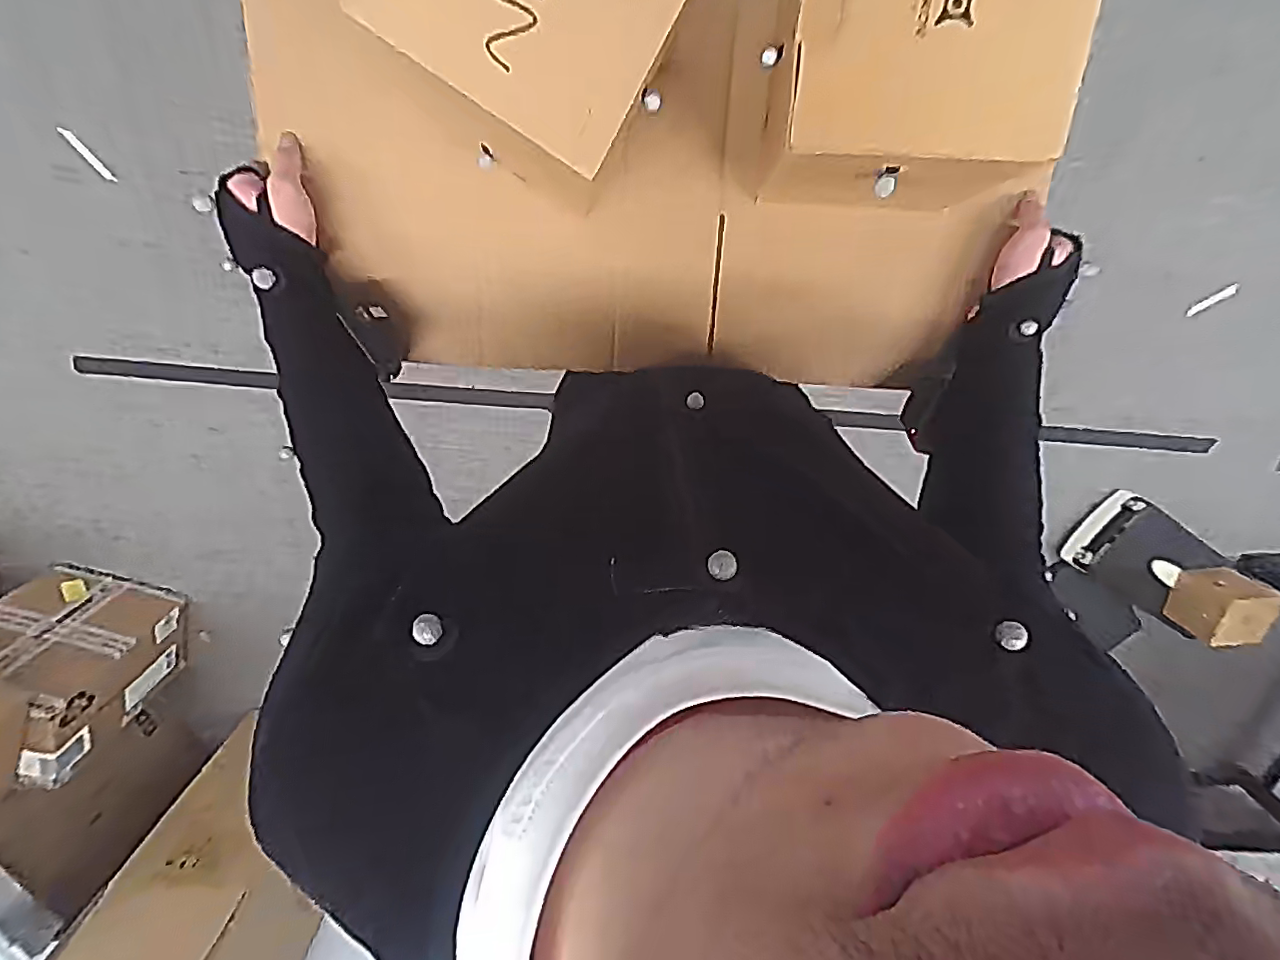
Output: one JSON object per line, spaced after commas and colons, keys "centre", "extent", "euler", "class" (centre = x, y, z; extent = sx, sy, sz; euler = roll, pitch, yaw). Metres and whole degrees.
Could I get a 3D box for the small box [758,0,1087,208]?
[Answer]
{"centre": [0.197, -0.317, 0.418], "extent": [0.179, 0.176, 0.168], "euler": [5, 107, 4], "class": "small box"}
